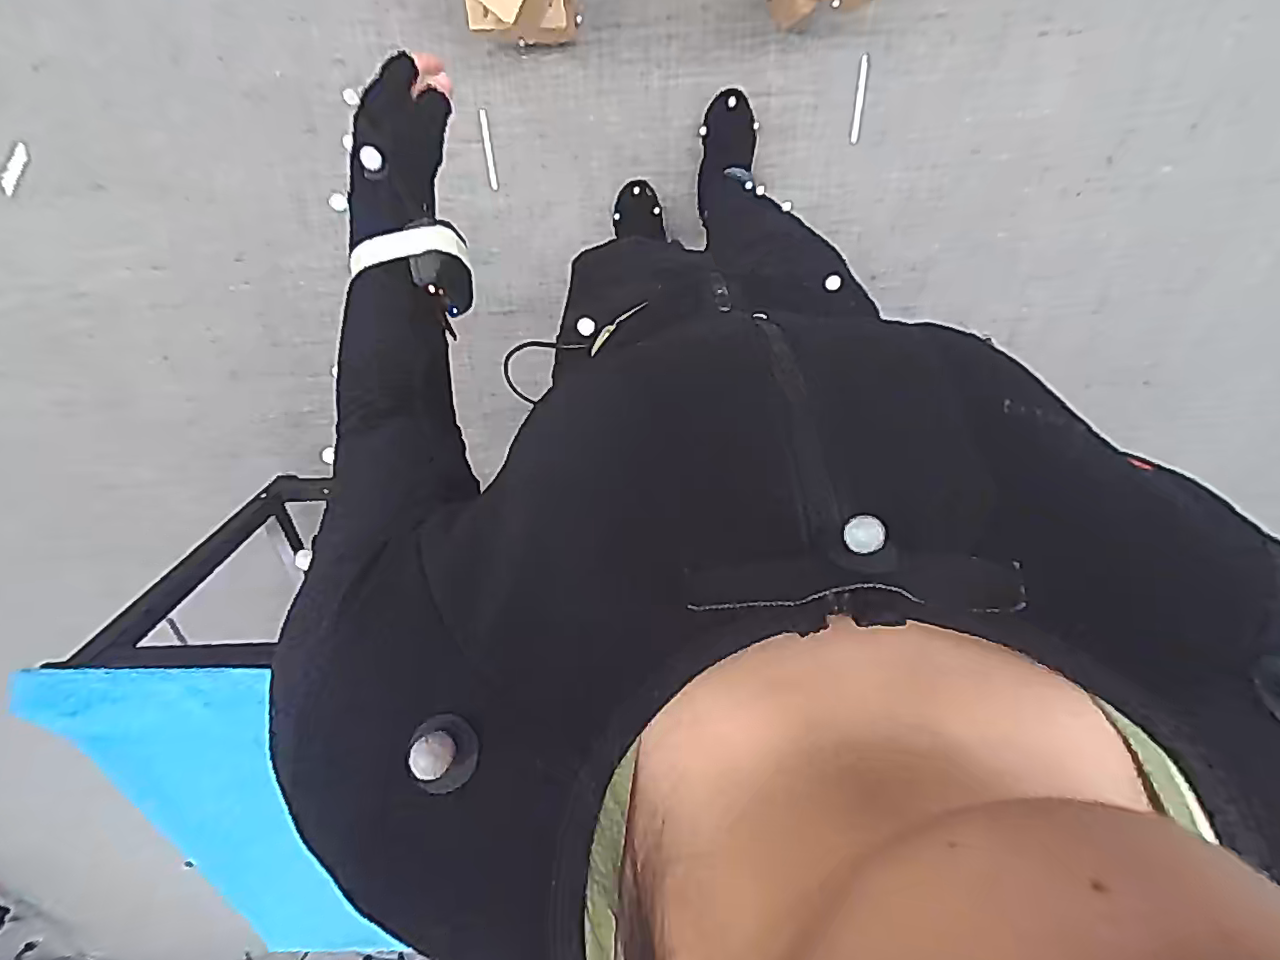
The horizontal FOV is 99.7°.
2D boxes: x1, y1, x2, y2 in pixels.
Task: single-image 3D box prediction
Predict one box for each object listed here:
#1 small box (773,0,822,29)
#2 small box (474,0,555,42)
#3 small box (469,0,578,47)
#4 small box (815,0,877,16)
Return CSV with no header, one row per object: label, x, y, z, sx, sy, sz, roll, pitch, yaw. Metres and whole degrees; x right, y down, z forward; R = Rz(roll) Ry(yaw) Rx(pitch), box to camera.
small box,0.312,-0.951,0.955,0.179,0.176,0.168,-32,116,18
small box,-0.218,-0.834,0.841,0.179,0.176,0.168,27,118,-16
small box,-0.210,-0.912,0.990,0.179,0.176,0.168,0,121,2
small box,0.316,-0.853,0.821,0.168,0.176,0.179,17,120,-11
